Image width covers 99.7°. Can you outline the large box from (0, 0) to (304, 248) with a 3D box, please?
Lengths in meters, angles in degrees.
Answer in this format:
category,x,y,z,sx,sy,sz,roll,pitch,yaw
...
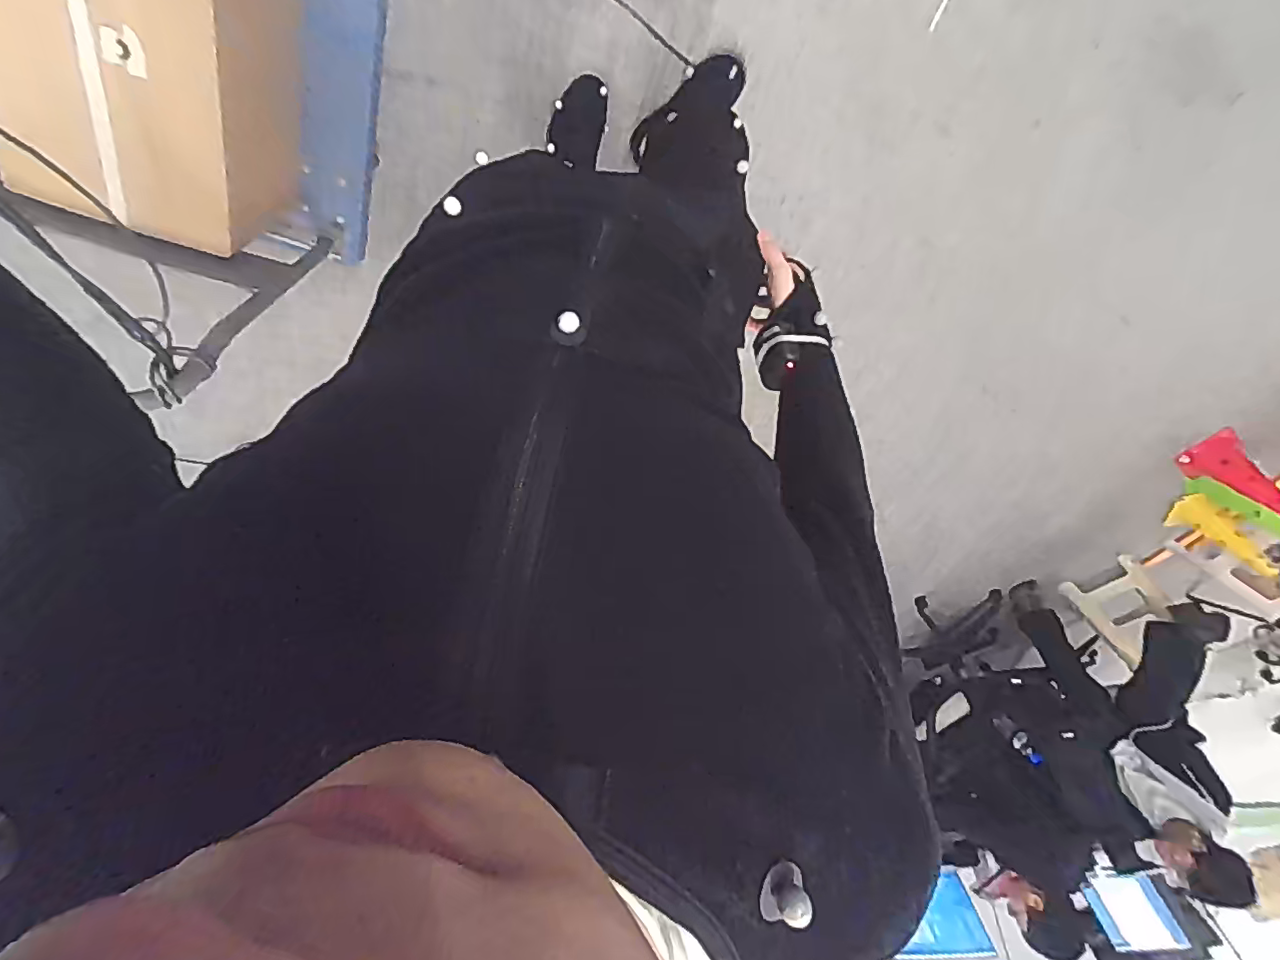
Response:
category,x,y,z,sx,sy,sz,roll,pitch,yaw
large box,-0.778,-0.670,0.883,0.320,0.320,0.408,15,128,-18
